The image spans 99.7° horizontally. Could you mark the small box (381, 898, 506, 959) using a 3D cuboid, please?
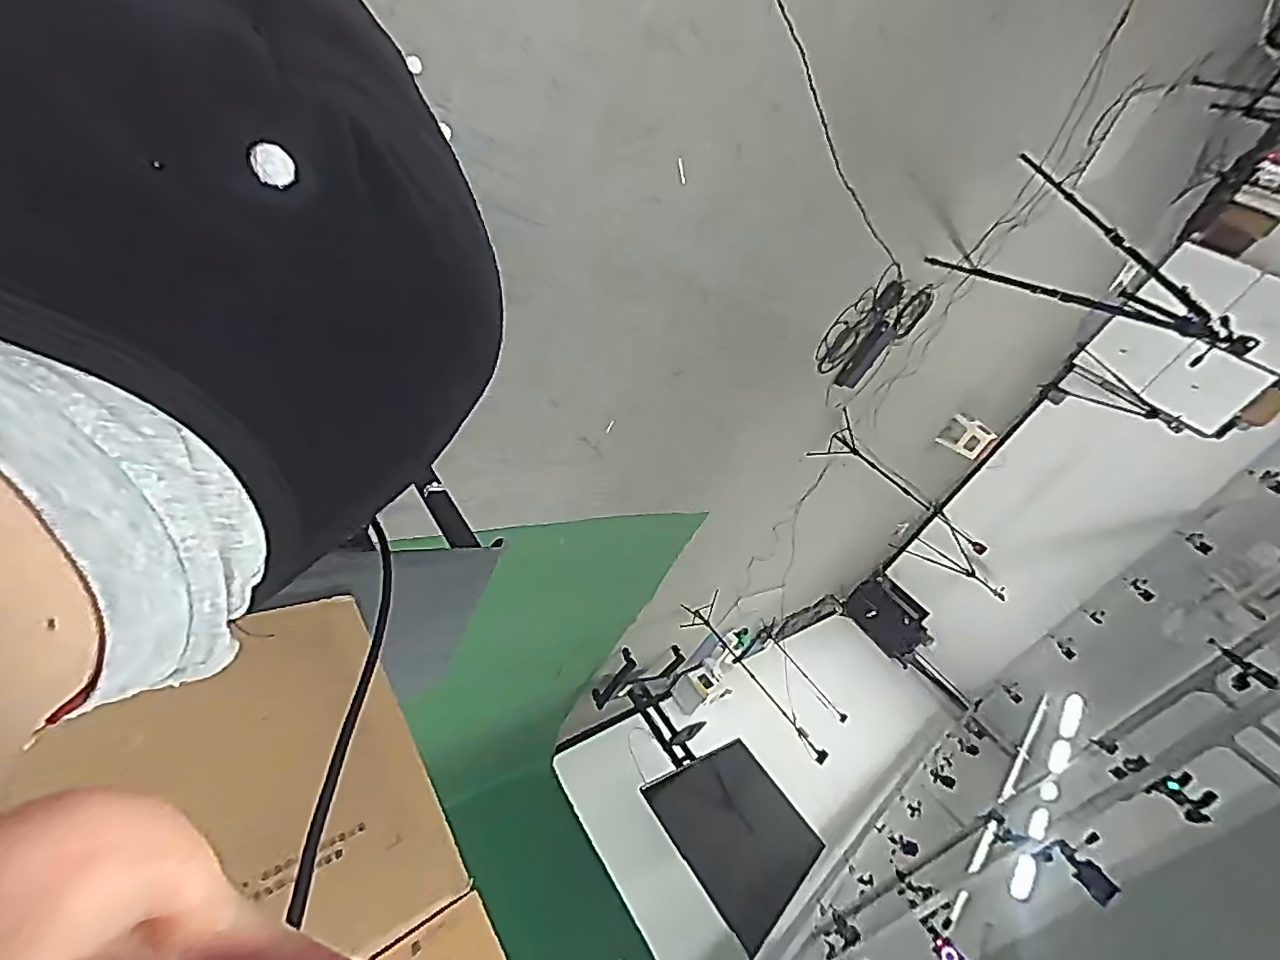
[{"bbox_3d":[-0.300,0.775,0.802,0.168,0.176,0.179,-10,136,-44],"label":"small box"}]
